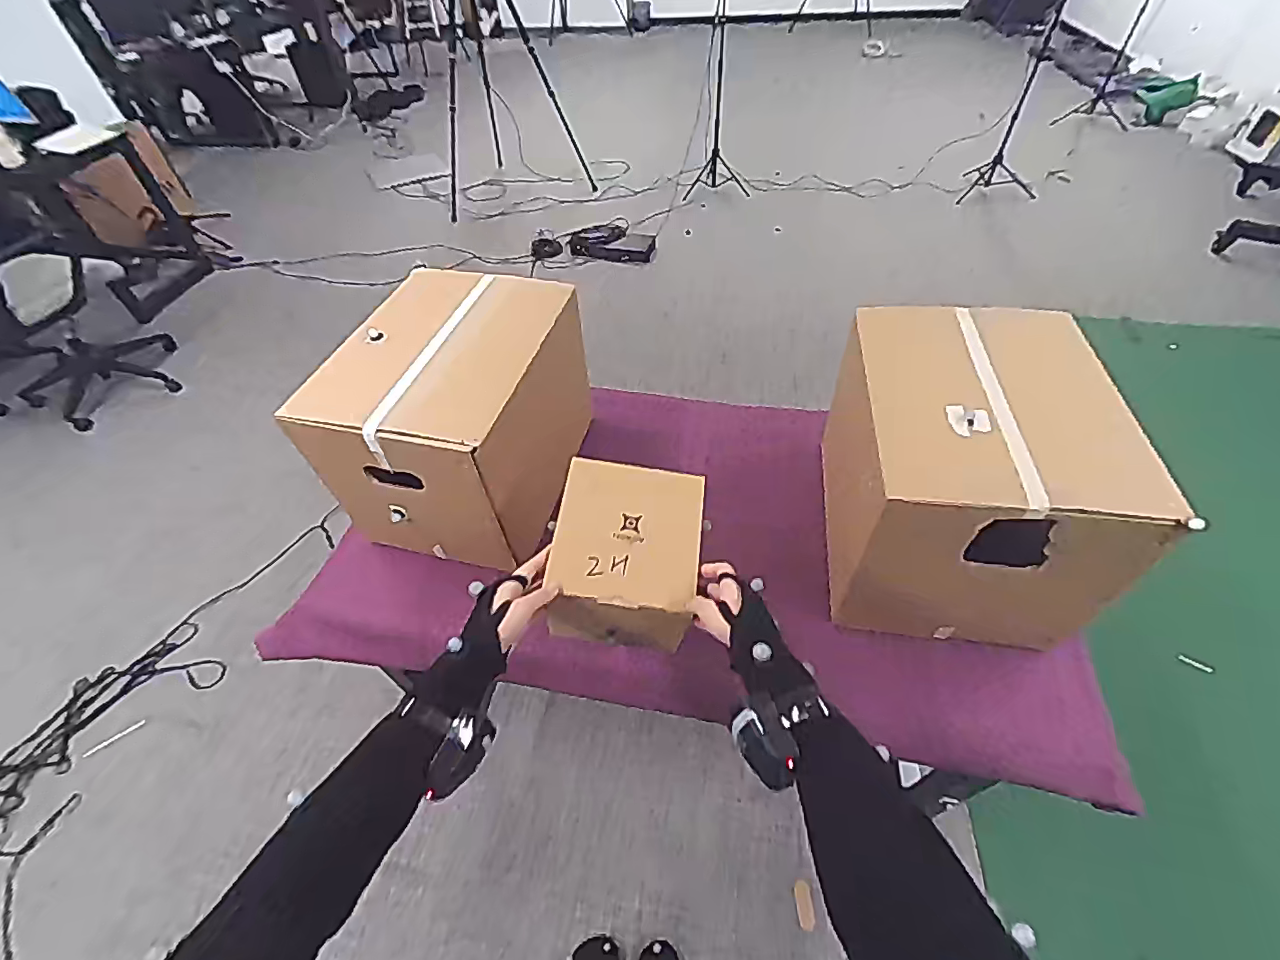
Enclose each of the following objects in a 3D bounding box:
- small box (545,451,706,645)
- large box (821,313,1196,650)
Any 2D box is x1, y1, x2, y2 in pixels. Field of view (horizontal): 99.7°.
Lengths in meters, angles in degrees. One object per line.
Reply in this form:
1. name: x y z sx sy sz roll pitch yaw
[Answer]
1. small box: -0.017 0.091 0.685 0.168 0.176 0.179 9 59 1
2. large box: 0.472 -0.007 0.825 0.320 0.320 0.408 4 49 10
